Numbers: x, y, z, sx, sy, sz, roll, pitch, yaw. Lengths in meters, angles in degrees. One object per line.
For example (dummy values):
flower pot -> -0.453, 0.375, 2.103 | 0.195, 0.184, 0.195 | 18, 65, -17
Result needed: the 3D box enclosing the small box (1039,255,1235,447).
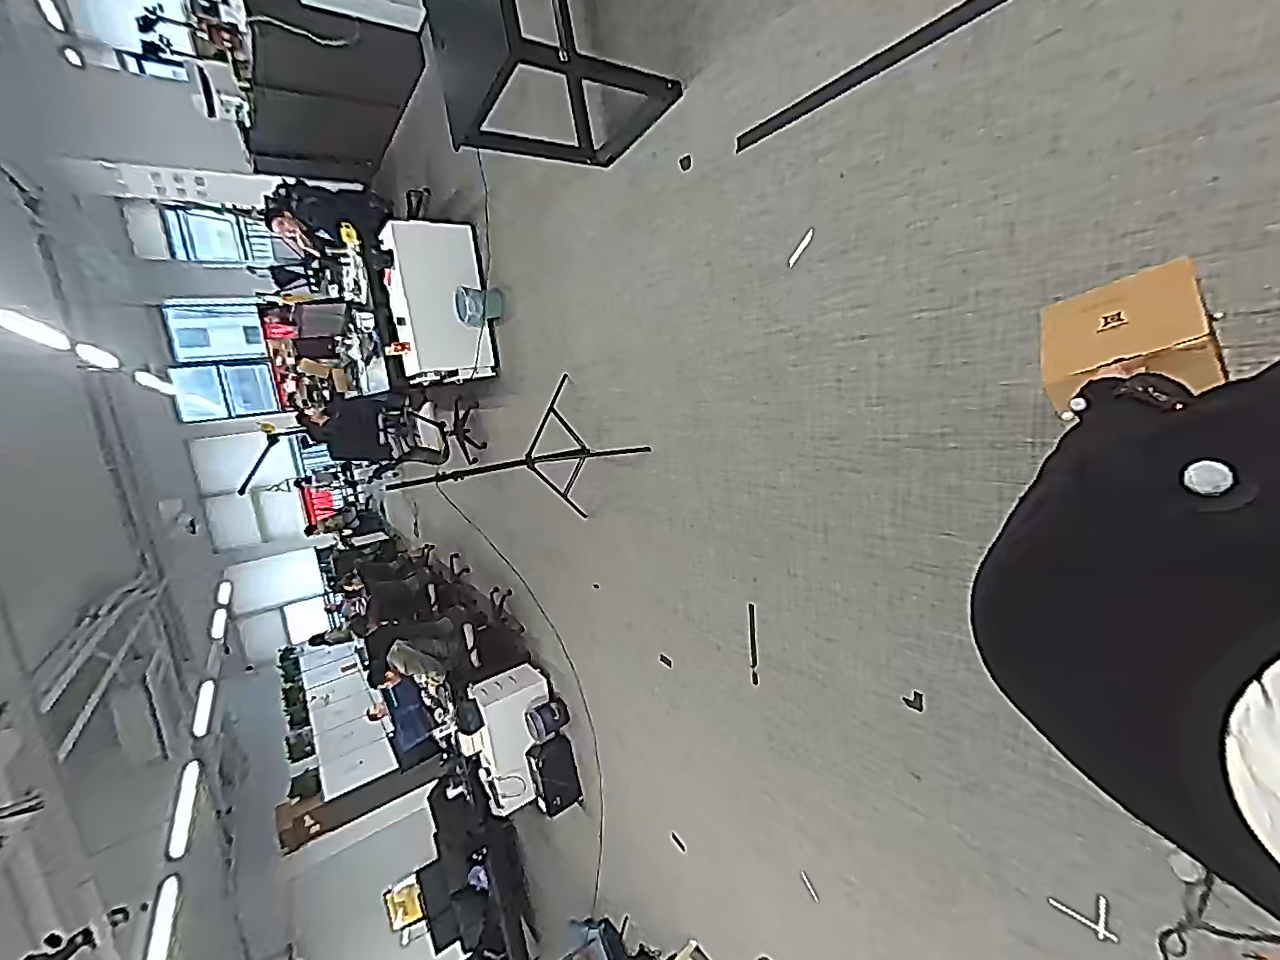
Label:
small box -> 0.685, -0.165, 0.755 | 0.176, 0.179, 0.168 | 43, 145, -24
